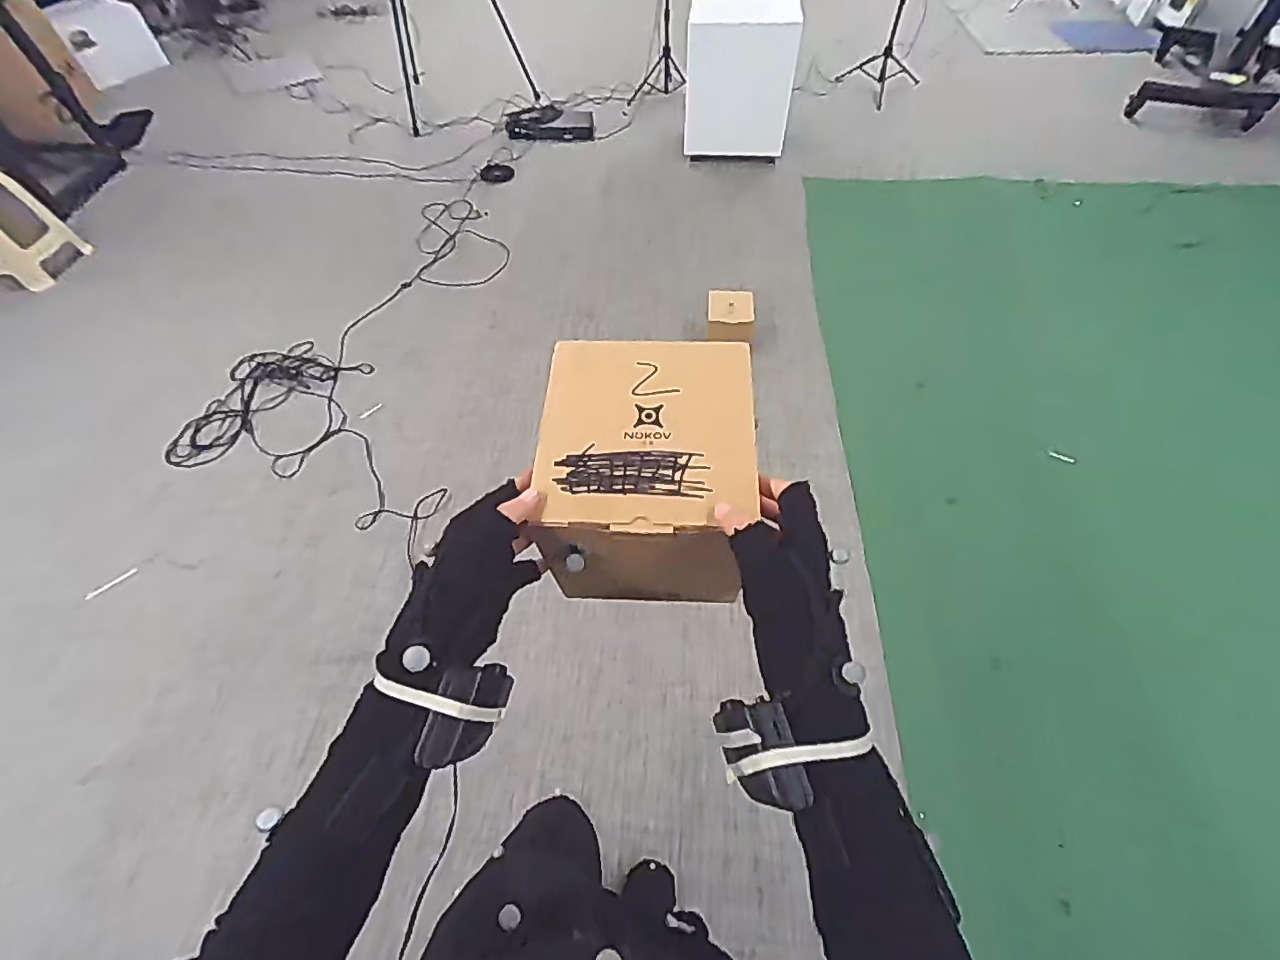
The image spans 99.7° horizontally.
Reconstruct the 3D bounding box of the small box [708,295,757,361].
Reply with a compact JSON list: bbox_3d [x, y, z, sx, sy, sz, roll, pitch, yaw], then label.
[{"bbox_3d":[0.349,-0.580,2.061,0.168,0.176,0.179,3,56,5],"label":"small box"}]
